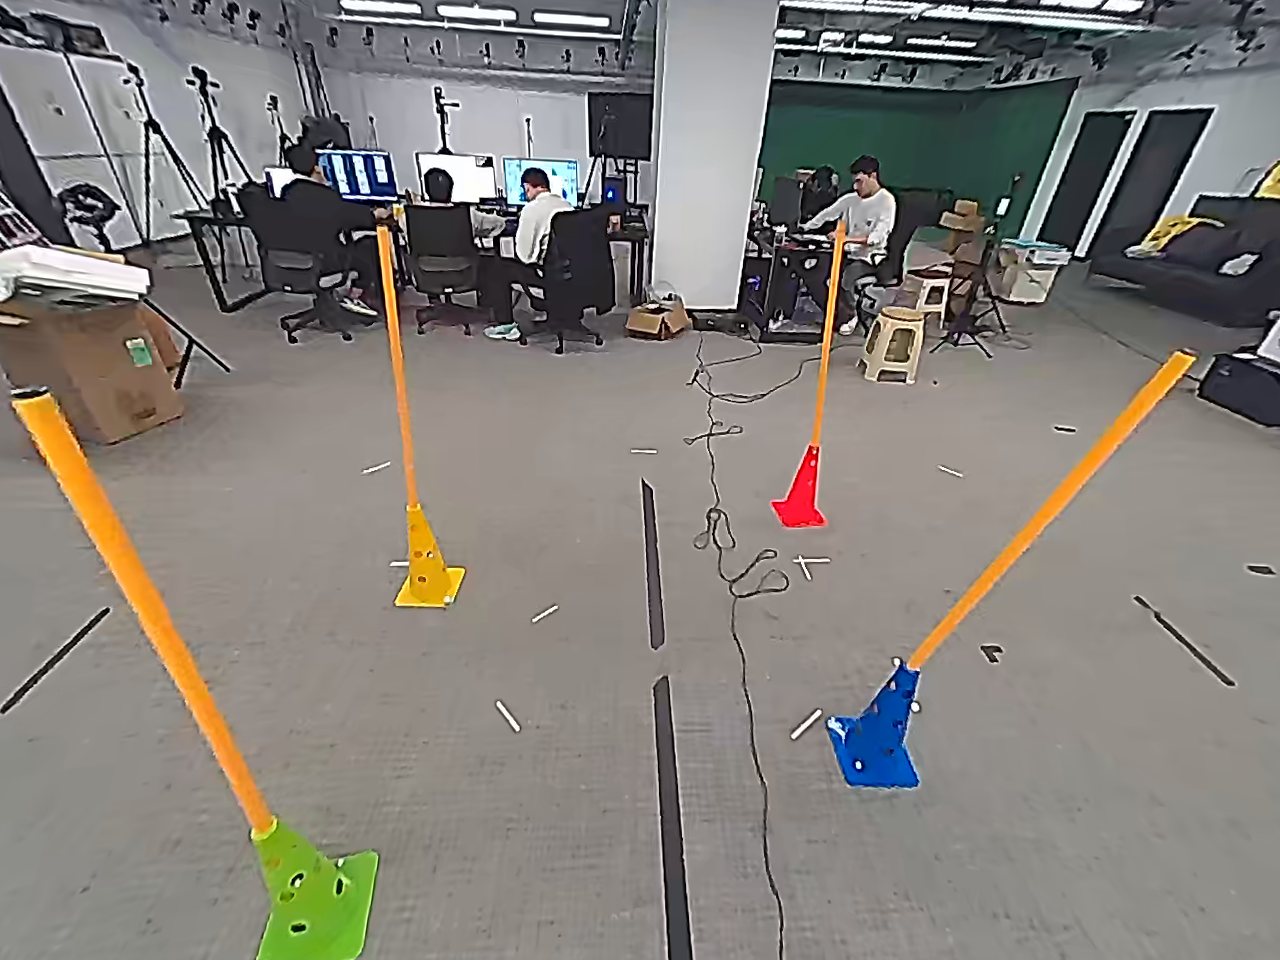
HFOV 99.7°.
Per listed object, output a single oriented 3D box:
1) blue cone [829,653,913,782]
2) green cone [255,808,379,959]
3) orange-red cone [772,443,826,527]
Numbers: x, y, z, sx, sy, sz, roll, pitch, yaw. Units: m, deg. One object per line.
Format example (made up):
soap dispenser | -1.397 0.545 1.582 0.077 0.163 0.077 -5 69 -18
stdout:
blue cone | 0.643 0.601 1.411 0.193 0.380 0.192 2 31 -1
green cone | -0.662 0.759 1.045 0.200 0.368 0.202 -5 31 -12
orange-red cone | 0.718 0.005 2.345 0.199 0.360 0.198 -3 32 -7
